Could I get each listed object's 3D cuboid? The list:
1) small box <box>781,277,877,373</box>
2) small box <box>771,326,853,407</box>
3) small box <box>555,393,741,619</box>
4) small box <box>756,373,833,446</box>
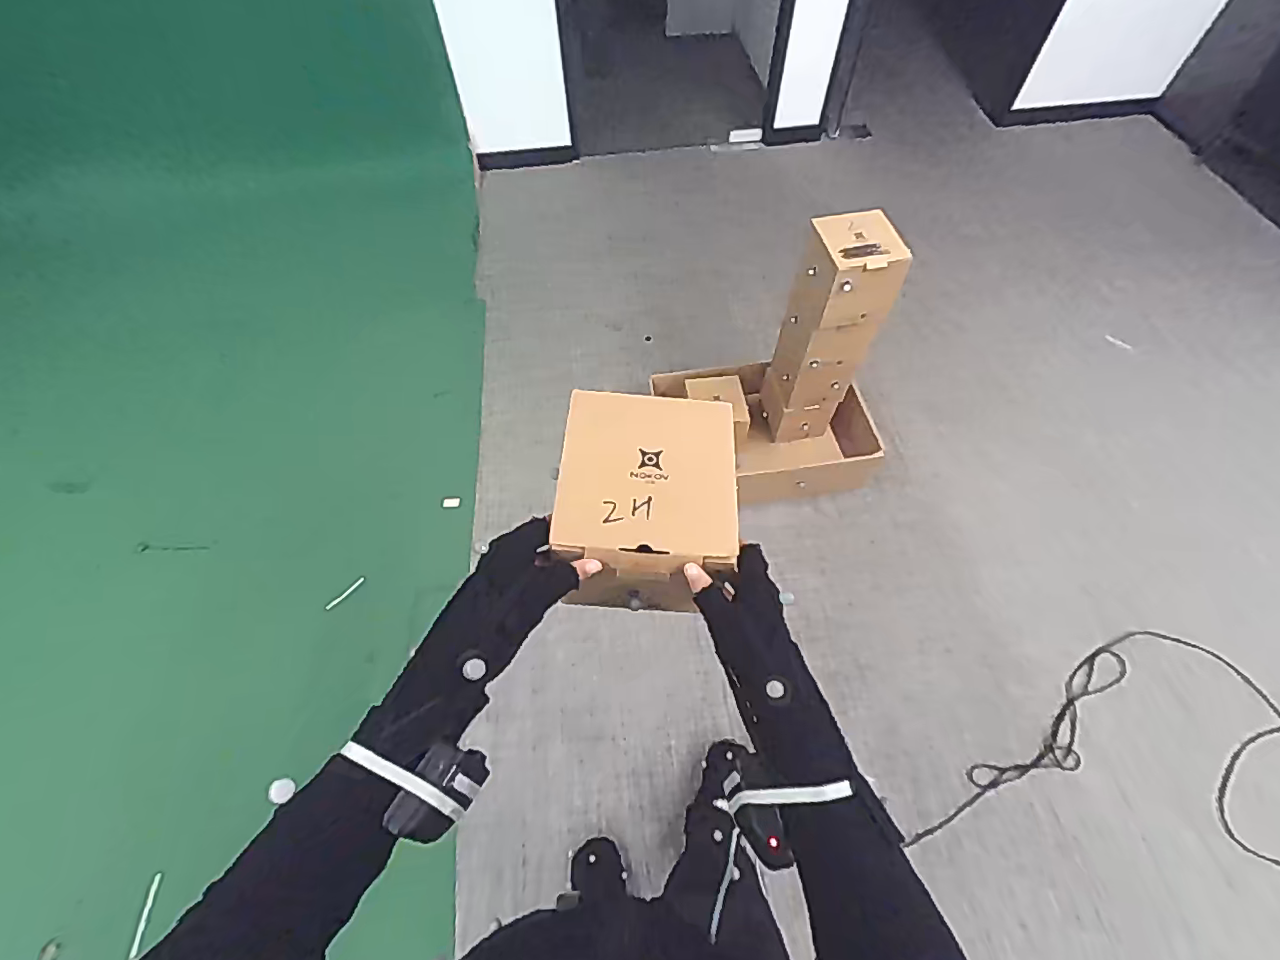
[{"bbox_3d":[0.474,-0.389,1.385,0.168,0.176,0.179,-7,59,-3],"label":"small box"},{"bbox_3d":[0.479,-0.319,1.514,0.168,0.176,0.179,-8,59,-3],"label":"small box"},{"bbox_3d":[0.006,0.034,0.577,0.168,0.176,0.179,5,60,-2],"label":"small box"},{"bbox_3d":[0.470,-0.222,1.668,0.168,0.176,0.179,-12,59,-4],"label":"small box"}]
